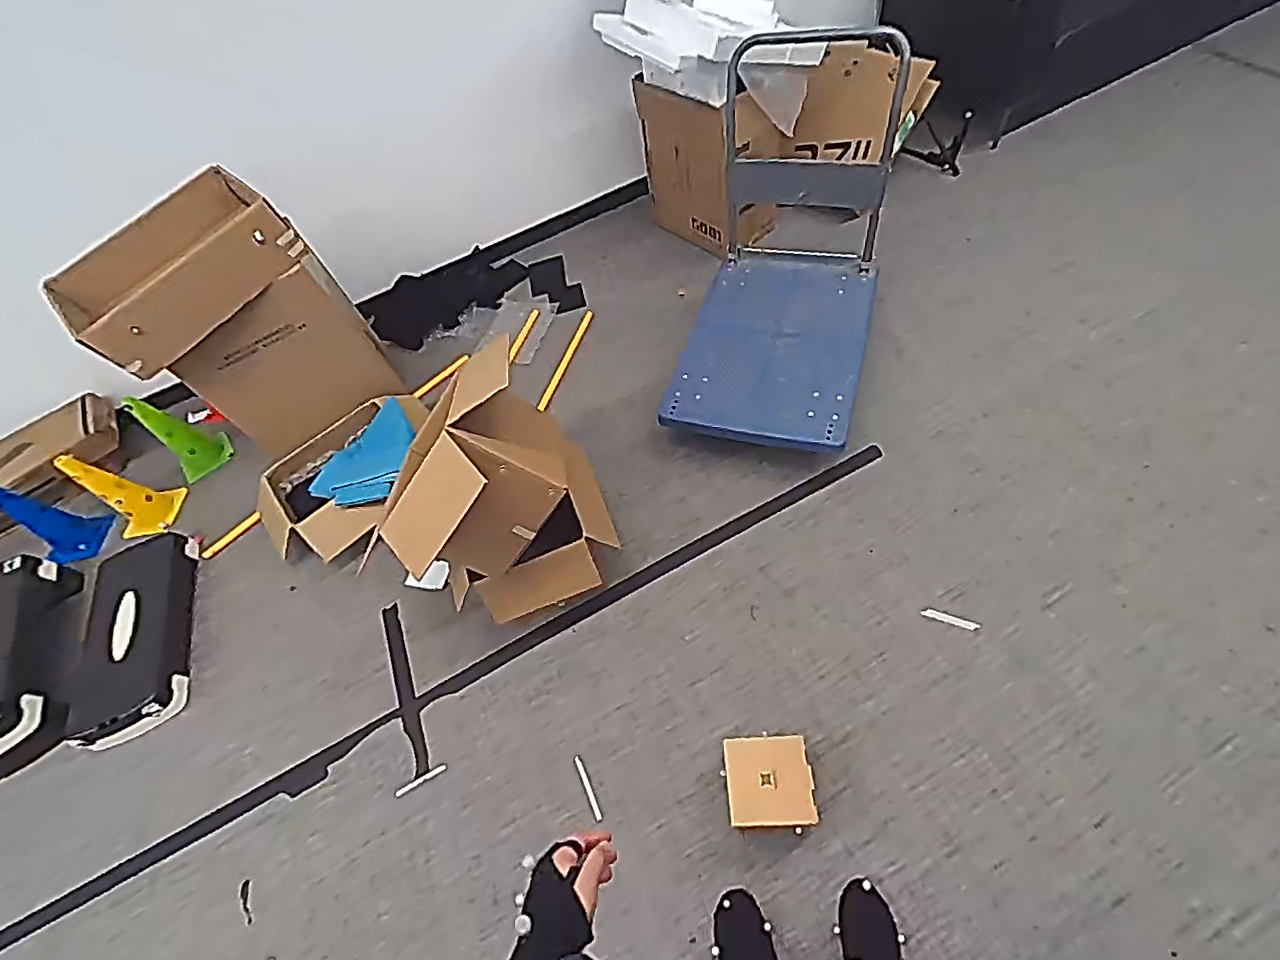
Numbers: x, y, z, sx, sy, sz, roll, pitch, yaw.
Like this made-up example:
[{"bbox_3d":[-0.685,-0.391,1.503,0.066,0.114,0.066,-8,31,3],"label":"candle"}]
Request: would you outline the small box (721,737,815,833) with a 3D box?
[{"bbox_3d":[0.278,0.678,1.196,0.179,0.176,0.168,-7,55,7],"label":"small box"}]
